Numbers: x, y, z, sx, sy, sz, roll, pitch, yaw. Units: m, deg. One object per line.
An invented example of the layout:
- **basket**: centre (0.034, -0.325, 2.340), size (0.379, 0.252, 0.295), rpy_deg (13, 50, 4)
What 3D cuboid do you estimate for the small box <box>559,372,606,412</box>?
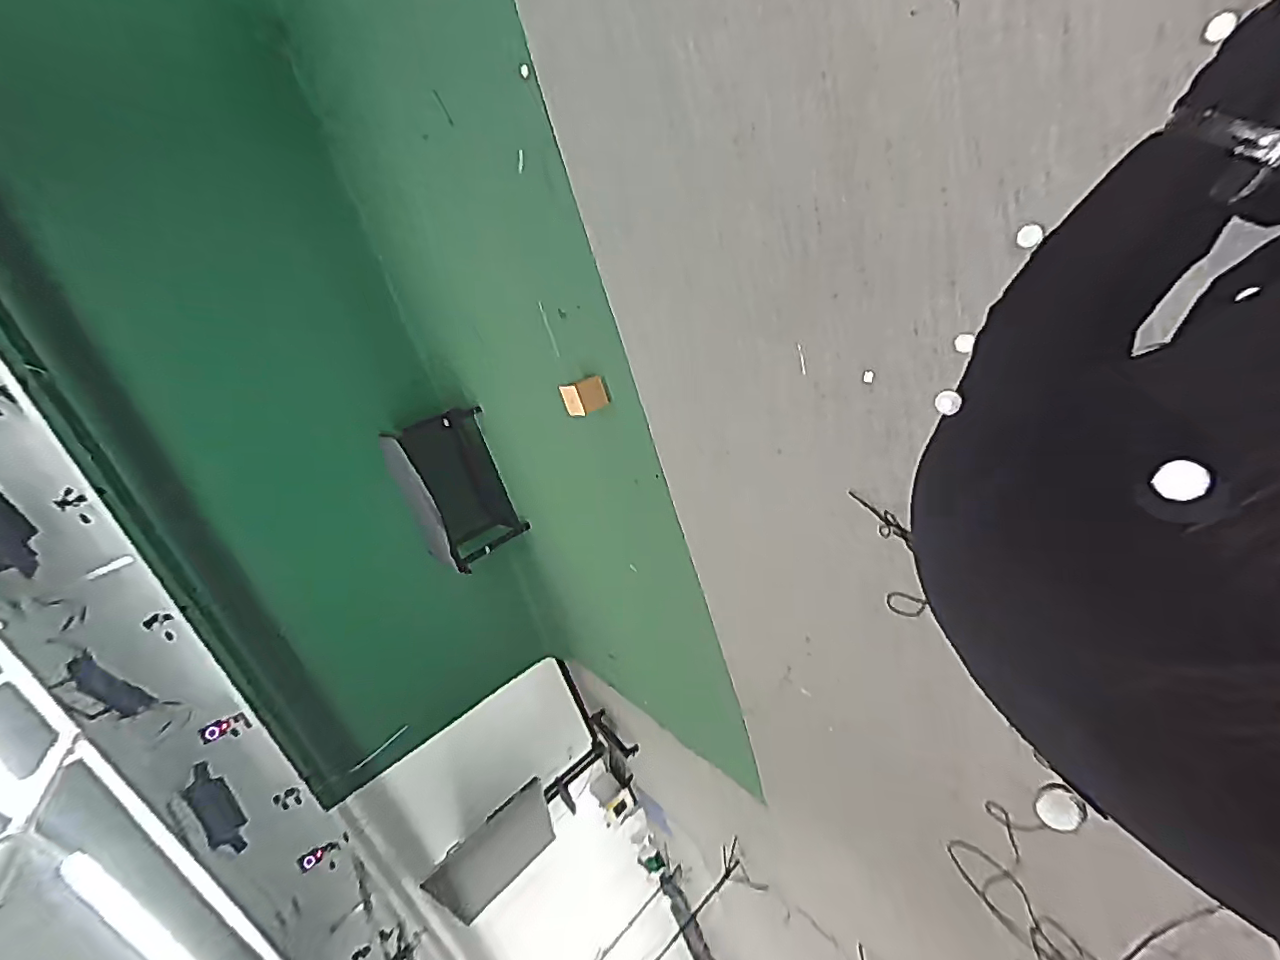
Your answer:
- **small box**: centre (-0.301, -0.476, 2.905), size (0.179, 0.176, 0.168), rpy_deg (10, 125, 54)
